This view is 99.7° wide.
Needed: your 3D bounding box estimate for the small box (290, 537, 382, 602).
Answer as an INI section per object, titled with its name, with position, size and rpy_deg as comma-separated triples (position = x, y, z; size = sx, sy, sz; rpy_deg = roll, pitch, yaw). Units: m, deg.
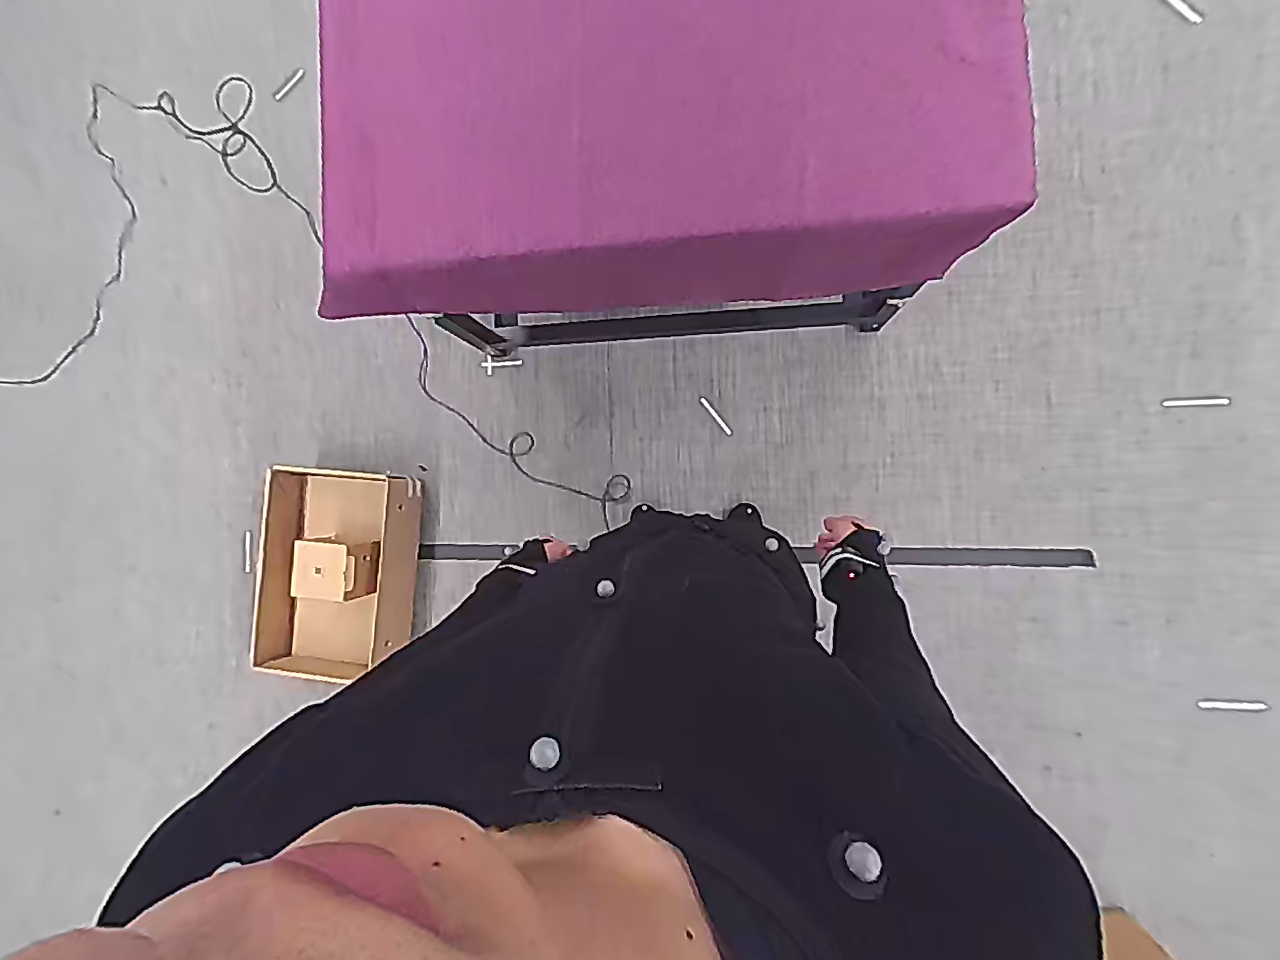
[small box]
position = -0.913, 0.264, 1.638
size = 0.179, 0.176, 0.168
rpy_deg = 4, 89, 8
